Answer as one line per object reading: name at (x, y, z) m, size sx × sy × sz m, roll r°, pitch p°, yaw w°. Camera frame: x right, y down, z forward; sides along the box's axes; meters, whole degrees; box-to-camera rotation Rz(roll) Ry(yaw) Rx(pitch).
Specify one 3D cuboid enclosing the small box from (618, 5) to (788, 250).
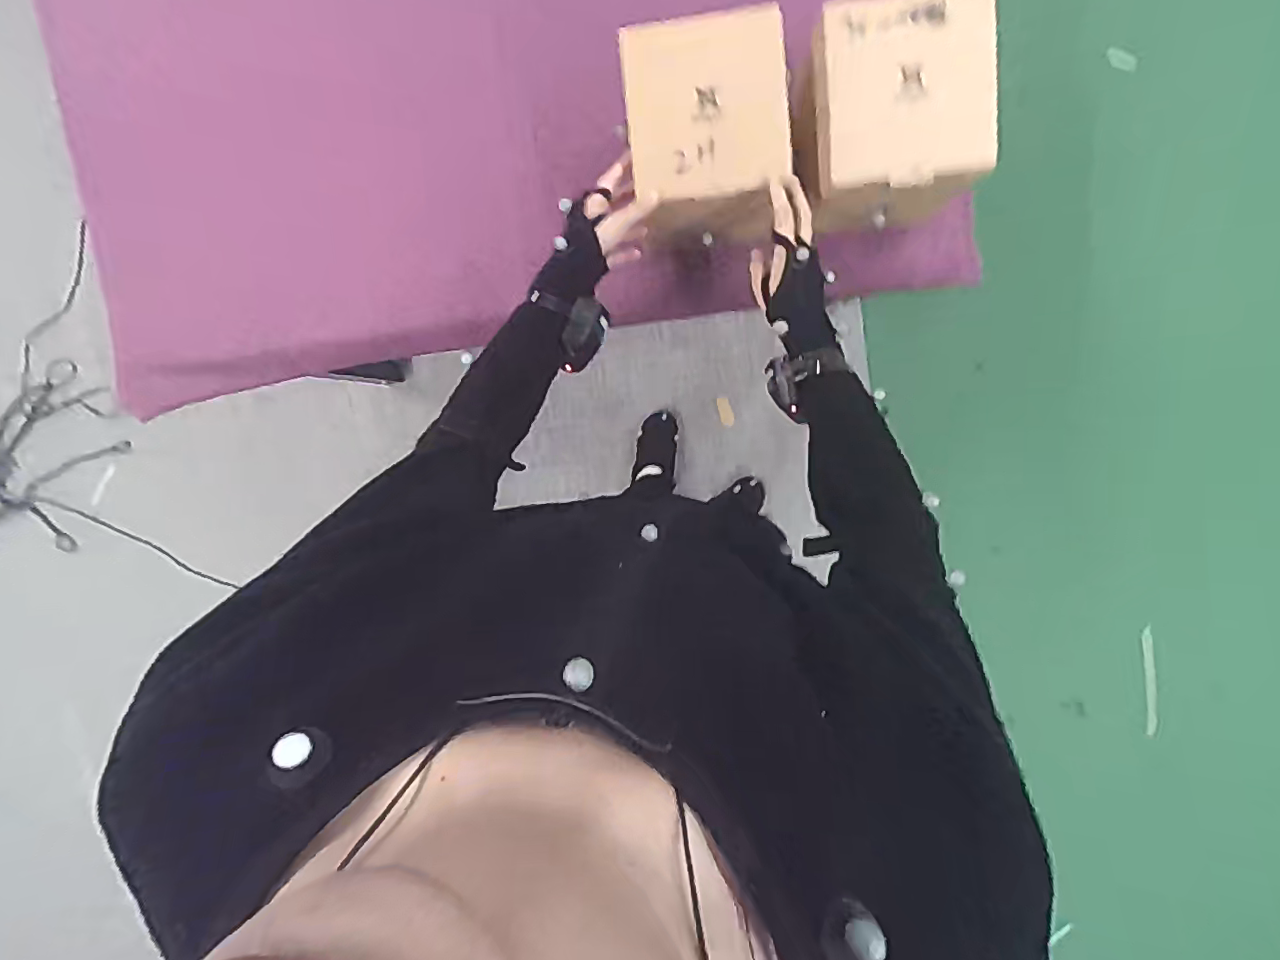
small box at (0.070, -0.392, 0.634) m, size 0.168 × 0.176 × 0.179 m, roll -5°, pitch 97°, yaw 5°
